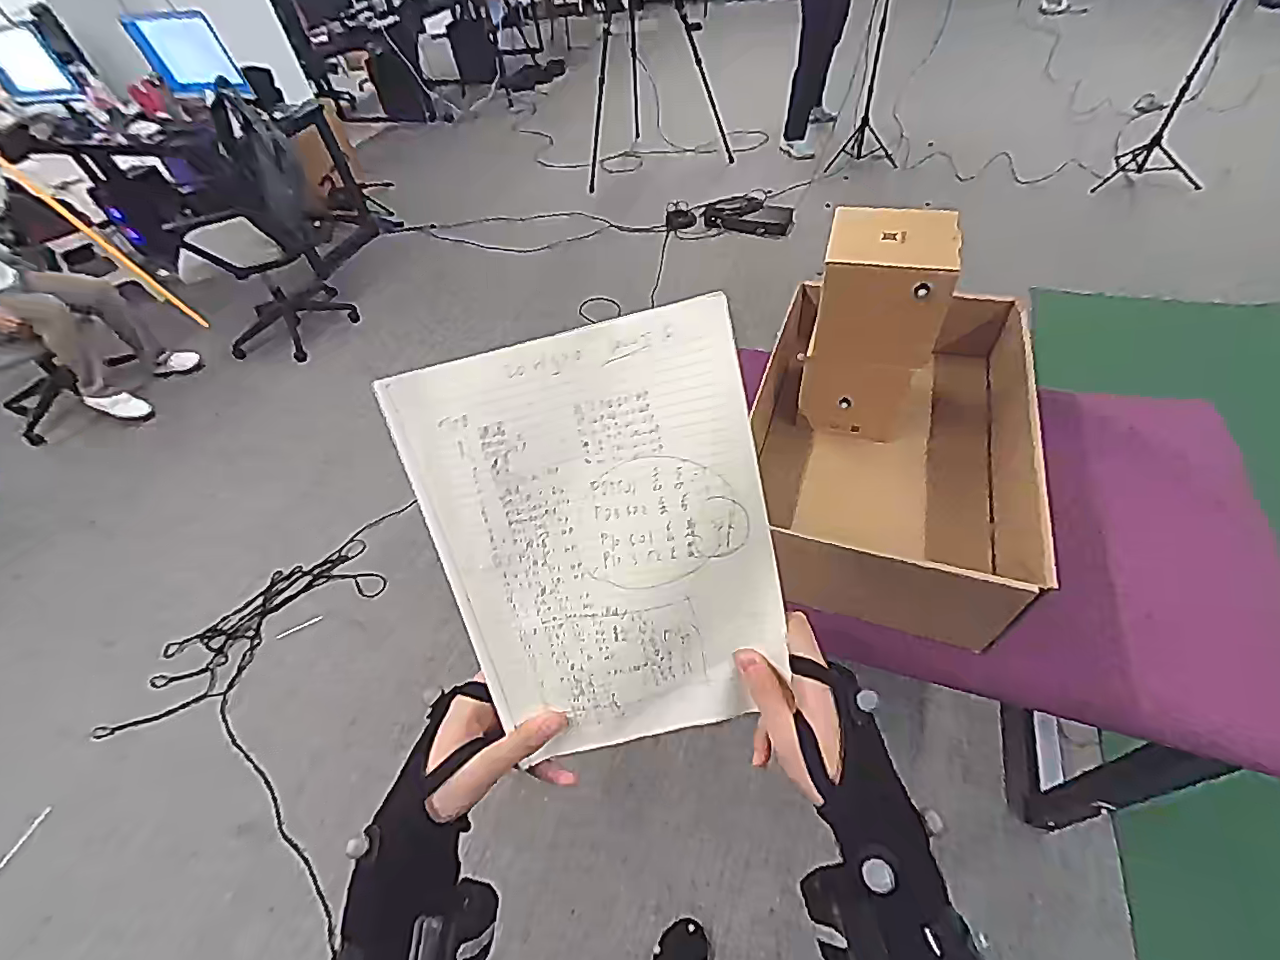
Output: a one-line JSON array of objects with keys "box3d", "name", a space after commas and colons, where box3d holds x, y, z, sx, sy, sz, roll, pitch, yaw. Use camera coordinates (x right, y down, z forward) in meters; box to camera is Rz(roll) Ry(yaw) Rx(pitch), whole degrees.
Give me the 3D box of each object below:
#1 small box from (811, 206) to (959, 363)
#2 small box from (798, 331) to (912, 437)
[{"box3d": [0.369, -0.300, 0.835, 0.179, 0.176, 0.168, 10, 53, 16], "name": "small box"}, {"box3d": [0.383, -0.201, 0.962, 0.168, 0.176, 0.179, 13, 54, 18], "name": "small box"}]
